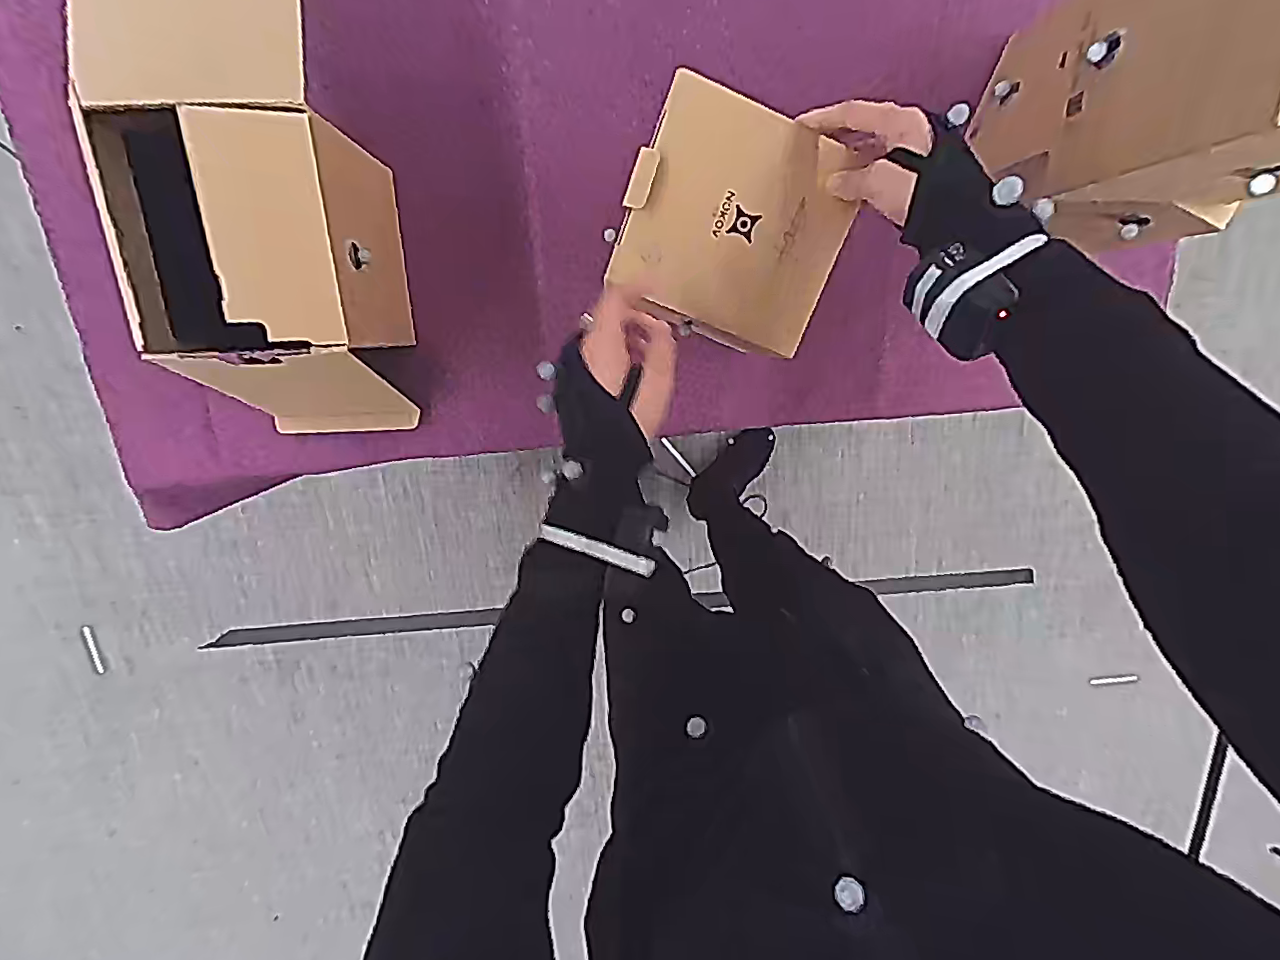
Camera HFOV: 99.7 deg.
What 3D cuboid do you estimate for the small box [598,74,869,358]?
[{"bbox_3d":[0.069,-0.226,0.513,0.179,0.176,0.168,20,104,-9],"label":"small box"}]

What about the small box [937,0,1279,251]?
[{"bbox_3d":[0.432,-0.332,0.506,0.179,0.176,0.168,20,103,-8],"label":"small box"}]
